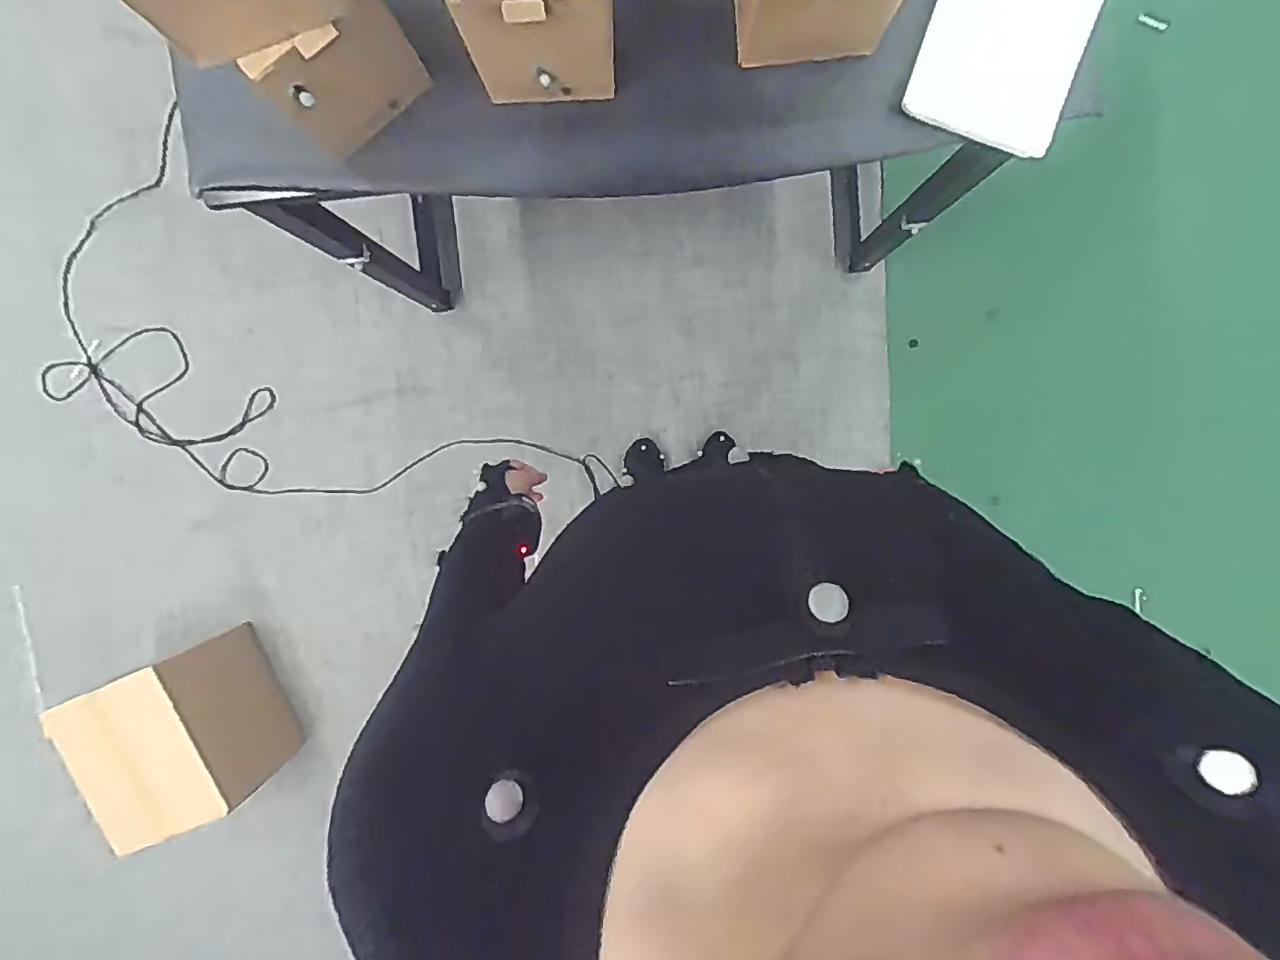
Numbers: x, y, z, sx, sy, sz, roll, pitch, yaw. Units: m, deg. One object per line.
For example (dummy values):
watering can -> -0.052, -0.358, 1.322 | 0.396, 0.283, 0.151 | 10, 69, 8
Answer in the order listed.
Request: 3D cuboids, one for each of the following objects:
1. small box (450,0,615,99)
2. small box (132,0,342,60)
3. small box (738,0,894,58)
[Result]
small box -> -0.120, -0.590, 0.631 | 0.168, 0.176, 0.179 | -1, 94, 3
small box -> -0.408, -0.532, 0.483 | 0.179, 0.176, 0.168 | -18, 93, 5
small box -> 0.209, -0.628, 0.616 | 0.179, 0.176, 0.168 | -5, 94, 4
